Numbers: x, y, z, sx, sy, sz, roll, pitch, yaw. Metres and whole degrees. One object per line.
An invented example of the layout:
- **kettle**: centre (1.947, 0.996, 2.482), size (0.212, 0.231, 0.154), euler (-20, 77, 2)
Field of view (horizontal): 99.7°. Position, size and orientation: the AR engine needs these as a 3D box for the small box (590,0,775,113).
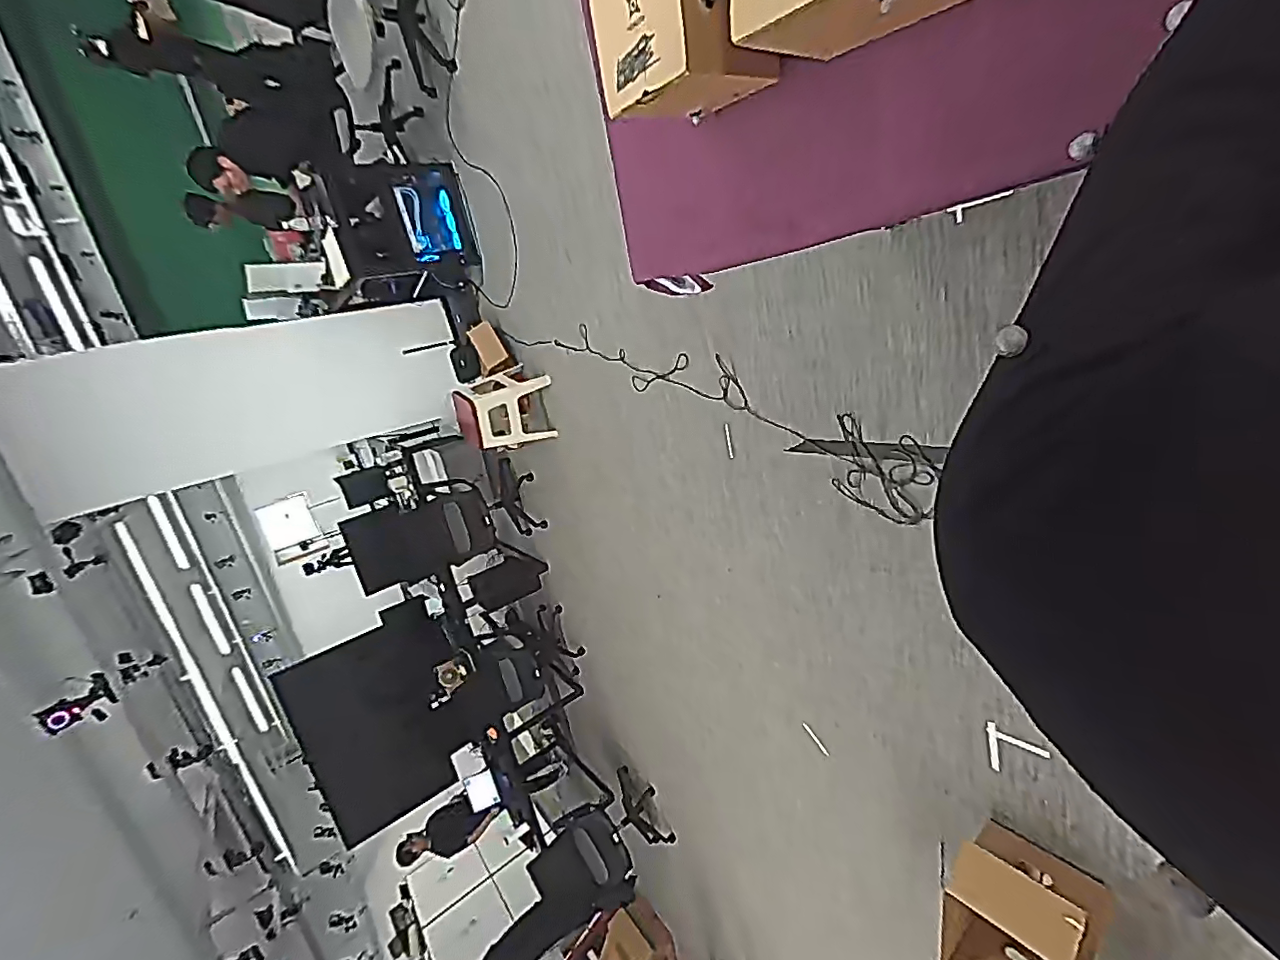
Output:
- **small box**: centre (0.056, -0.595, 0.689), size (0.168, 0.176, 0.179), euler (18, 124, 51)
